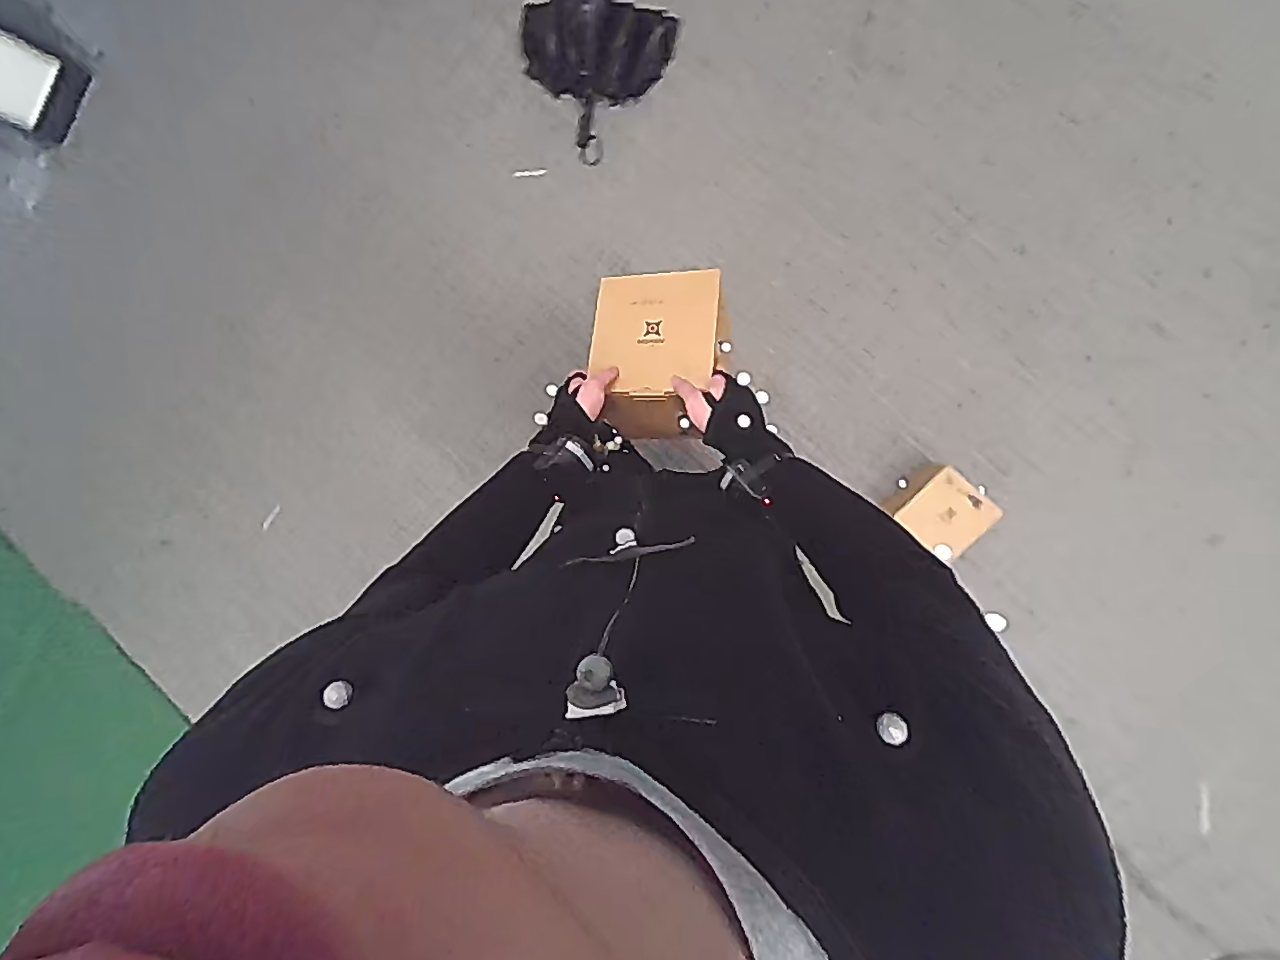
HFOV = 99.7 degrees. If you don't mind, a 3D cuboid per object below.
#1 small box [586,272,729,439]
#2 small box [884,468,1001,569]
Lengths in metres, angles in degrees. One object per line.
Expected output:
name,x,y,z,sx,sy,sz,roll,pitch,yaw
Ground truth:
small box,0.036,-0.164,0.772,0.168,0.176,0.179,0,71,15
small box,0.730,0.088,1.332,0.168,0.176,0.179,43,103,6
